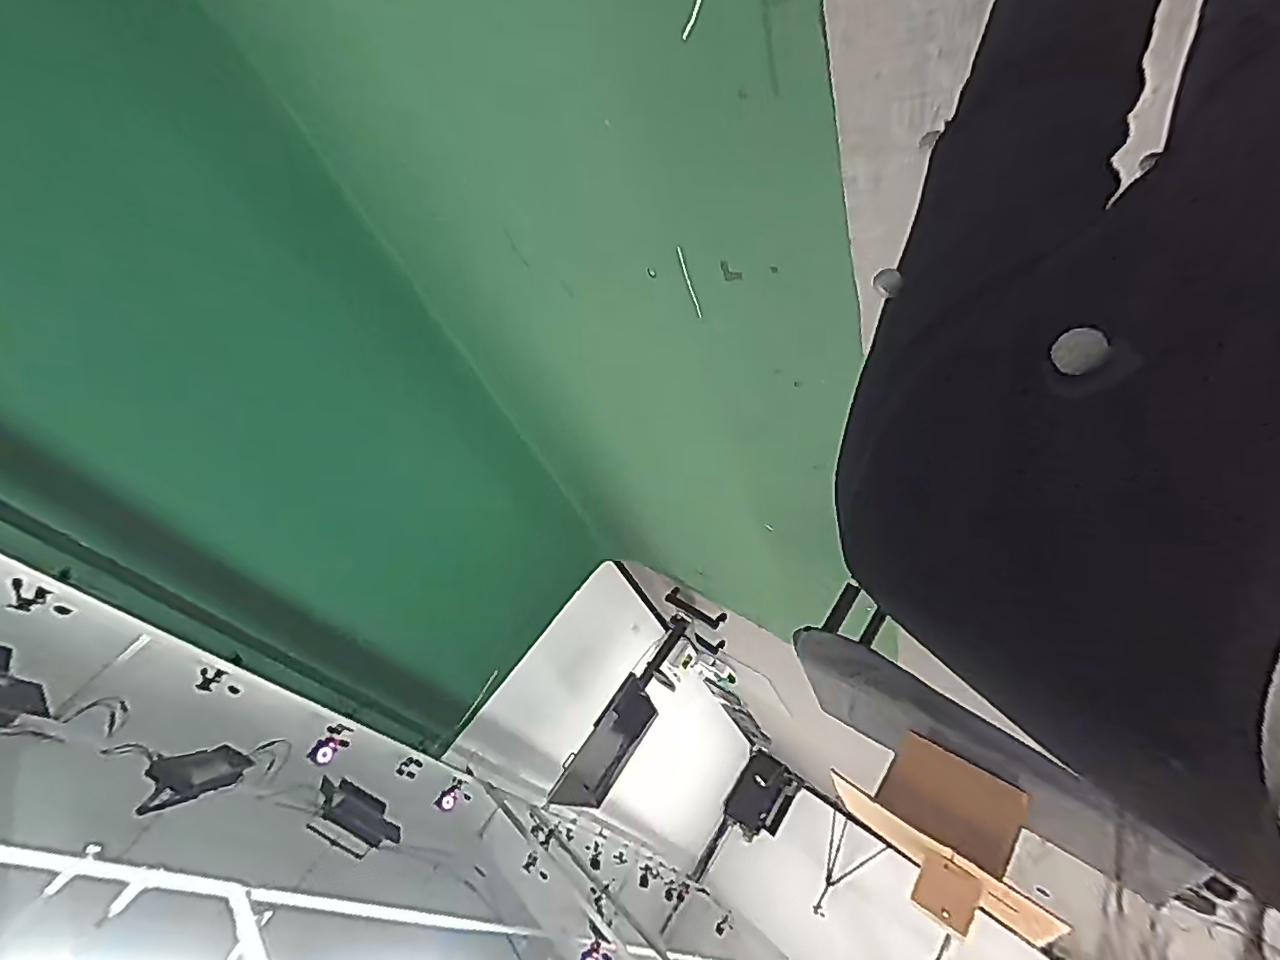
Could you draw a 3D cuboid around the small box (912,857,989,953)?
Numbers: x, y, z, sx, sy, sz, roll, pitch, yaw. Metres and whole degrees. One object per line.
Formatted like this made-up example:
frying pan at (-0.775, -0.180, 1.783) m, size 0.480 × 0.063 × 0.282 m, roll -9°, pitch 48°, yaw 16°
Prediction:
small box at (0.990, 1.351, 1.724) m, size 0.168 × 0.176 × 0.179 m, roll 20°, pitch 150°, yaw 41°
